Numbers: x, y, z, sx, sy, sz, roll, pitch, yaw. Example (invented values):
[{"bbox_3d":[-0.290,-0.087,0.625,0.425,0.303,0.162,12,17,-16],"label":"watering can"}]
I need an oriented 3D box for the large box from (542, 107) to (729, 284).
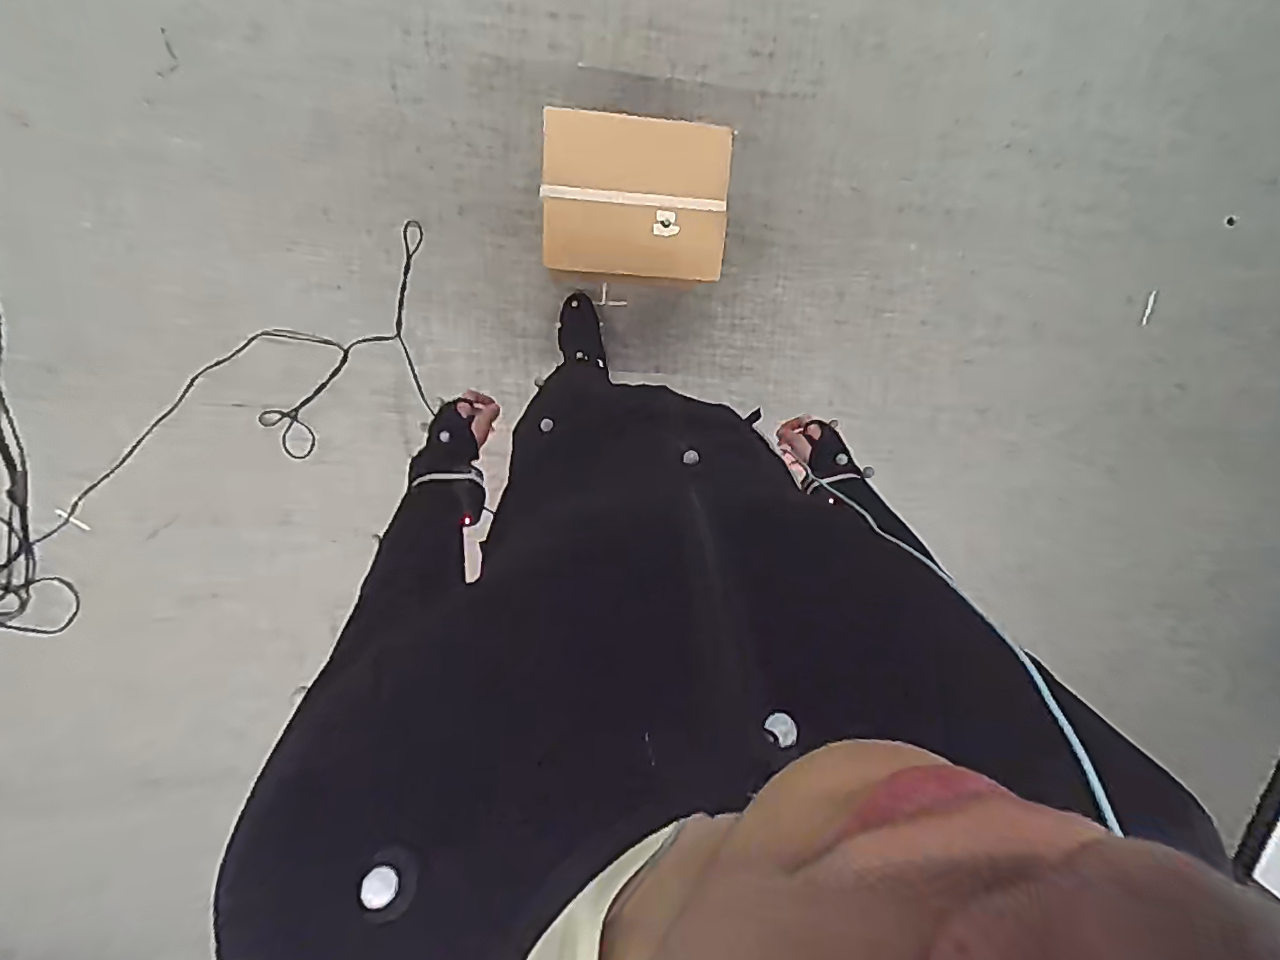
[{"bbox_3d":[-0.030,-0.660,1.318,0.408,0.320,0.320,0,106,-9],"label":"large box"}]
